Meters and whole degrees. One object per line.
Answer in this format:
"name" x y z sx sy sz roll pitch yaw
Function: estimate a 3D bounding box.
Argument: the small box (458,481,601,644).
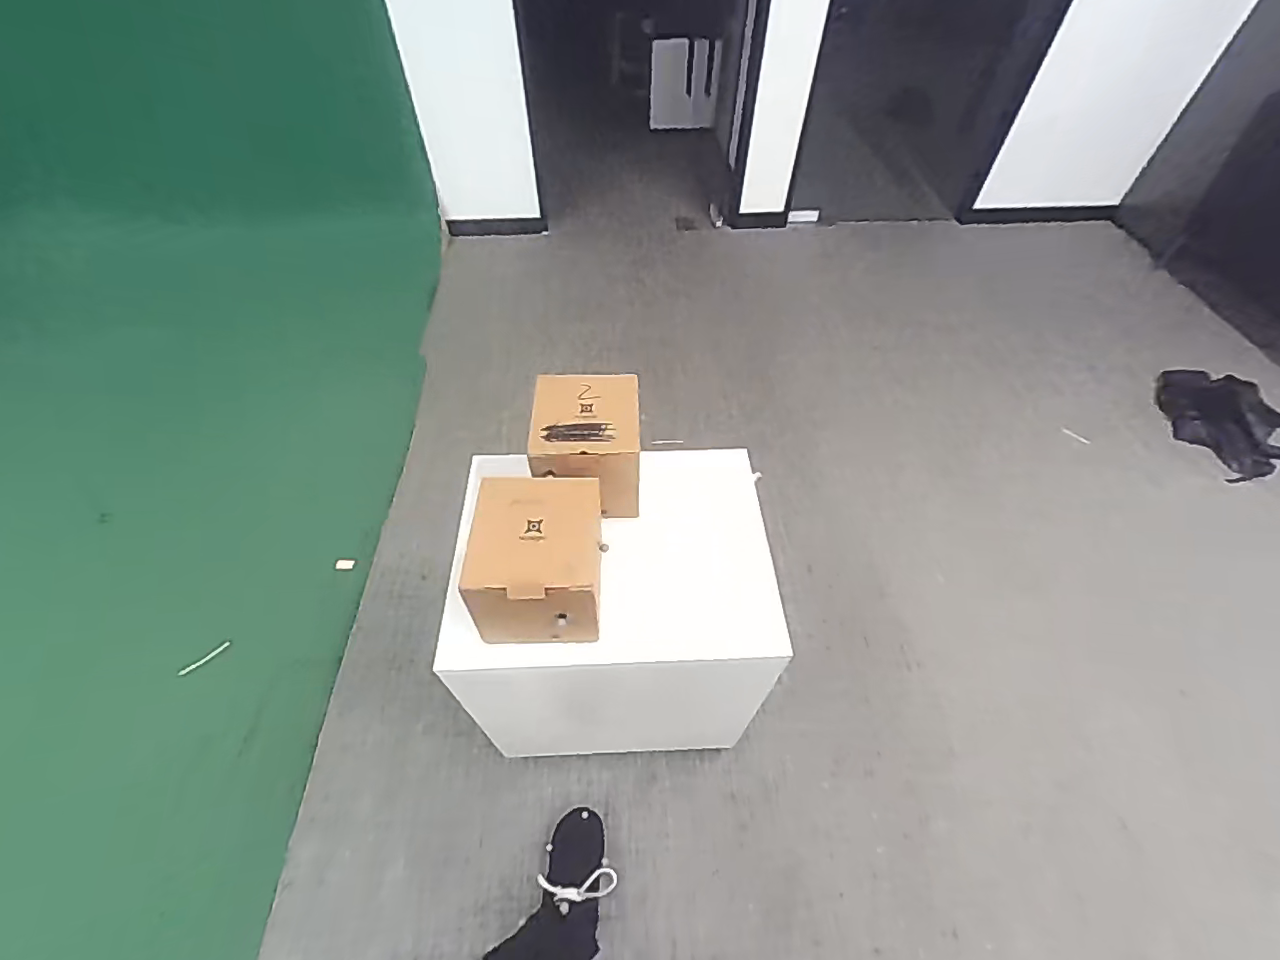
"small box" -0.140 0.119 0.760 0.168 0.176 0.179 0 49 -3
